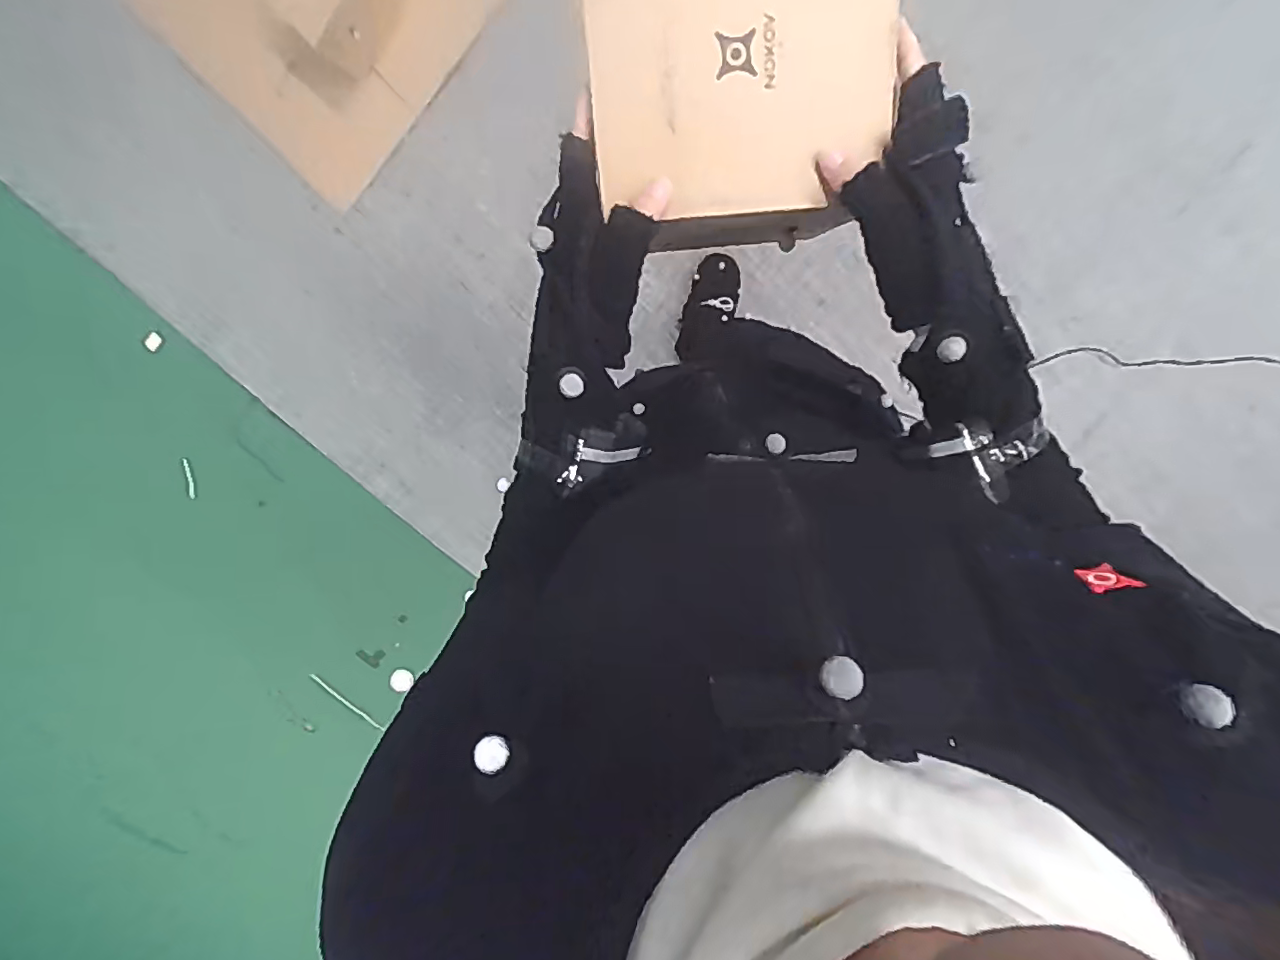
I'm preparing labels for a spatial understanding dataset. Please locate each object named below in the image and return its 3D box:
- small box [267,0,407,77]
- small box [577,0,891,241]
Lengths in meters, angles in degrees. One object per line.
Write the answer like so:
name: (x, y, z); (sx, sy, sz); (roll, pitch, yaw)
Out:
small box: (-0.605, -0.964, 1.081); (0.168, 0.176, 0.179); (41, 108, -8)
small box: (0.054, -0.273, 0.379); (0.179, 0.176, 0.168); (-5, 105, 3)
